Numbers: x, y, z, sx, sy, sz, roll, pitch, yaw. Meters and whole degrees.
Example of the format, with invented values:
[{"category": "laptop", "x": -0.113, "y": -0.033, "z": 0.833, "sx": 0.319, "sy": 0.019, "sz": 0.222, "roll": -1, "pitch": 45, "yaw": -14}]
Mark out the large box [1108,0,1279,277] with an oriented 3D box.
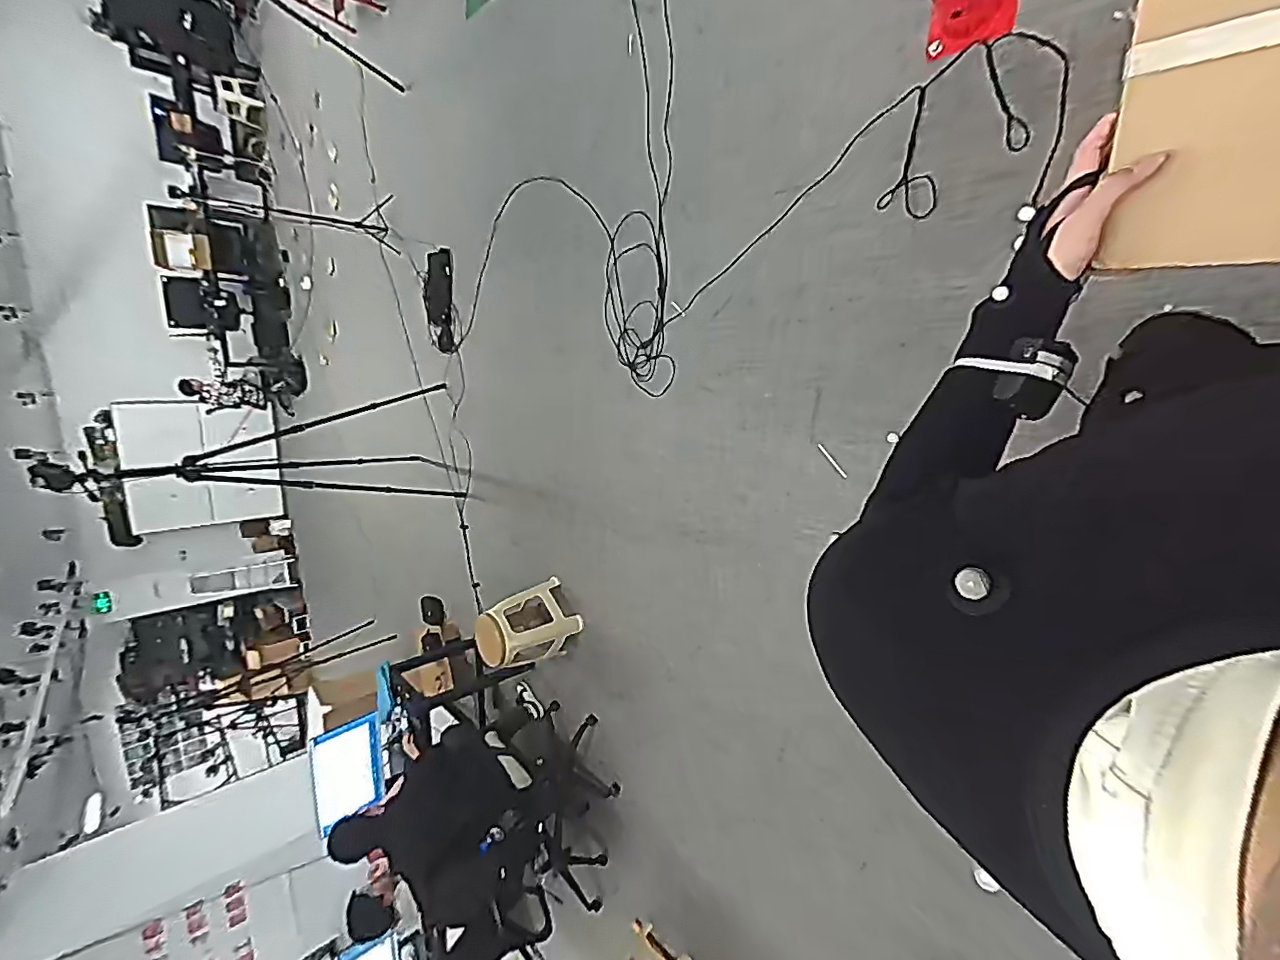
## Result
[{"category": "large box", "x": 0.644, "y": -0.341, "z": 0.390, "sx": 0.408, "sy": 0.320, "sz": 0.320, "roll": 16, "pitch": 123, "yaw": 44}]
